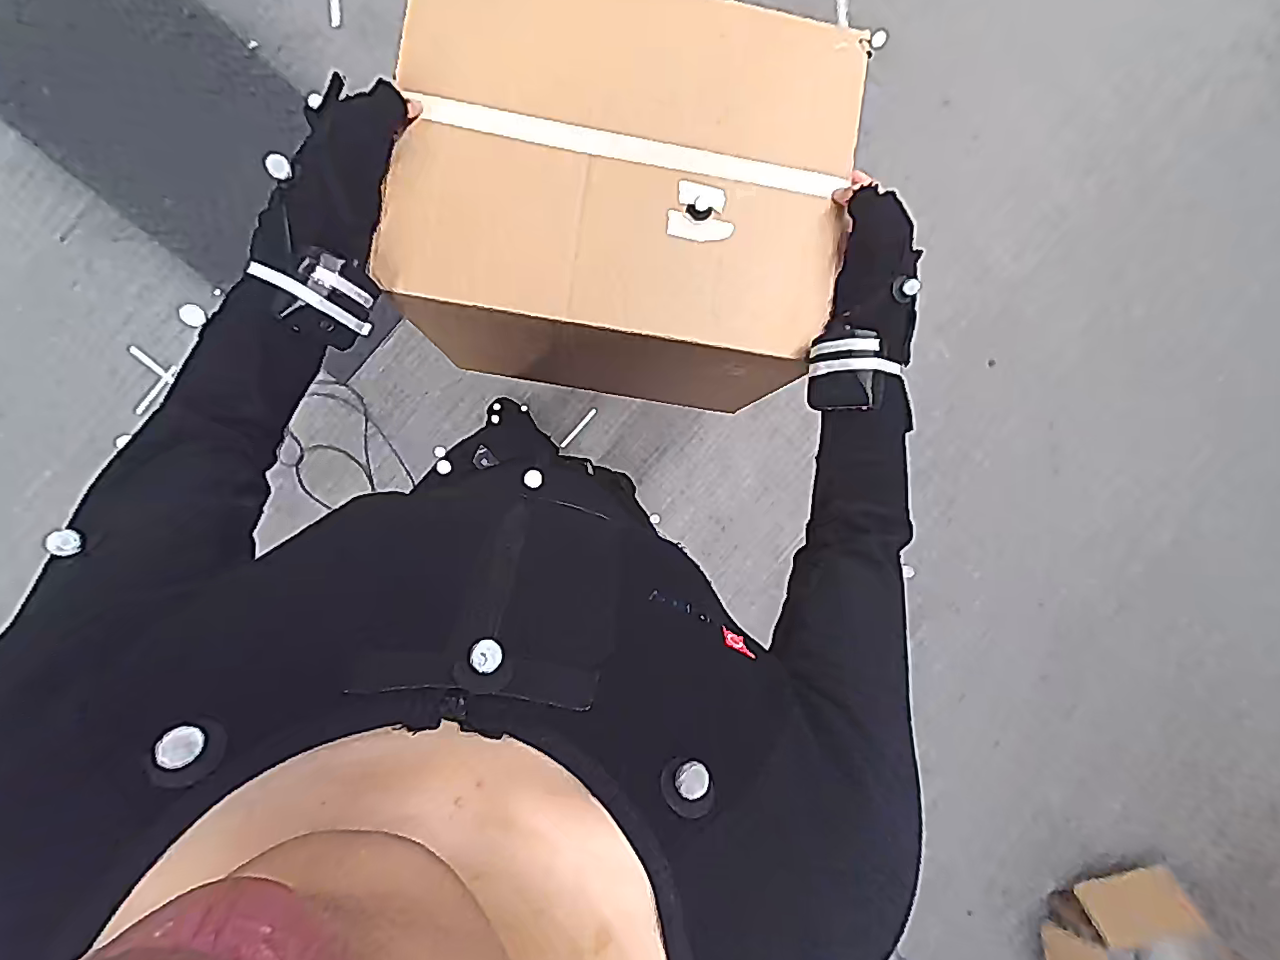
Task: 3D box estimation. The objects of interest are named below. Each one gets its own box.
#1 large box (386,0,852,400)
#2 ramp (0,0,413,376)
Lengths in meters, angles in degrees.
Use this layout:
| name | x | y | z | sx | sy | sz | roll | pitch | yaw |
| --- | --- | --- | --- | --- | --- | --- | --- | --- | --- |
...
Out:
| name | x | y | z | sx | sy | sz | roll | pitch | yaw |
| --- | --- | --- | --- | --- | --- | --- | --- | --- | --- |
| large box | -0.026 | -0.294 | 0.637 | 0.408 | 0.320 | 0.320 | 7 | 88 | -6 |
| ramp | -0.964 | -0.764 | 1.294 | 0.991 | 0.206 | 0.509 | 39 | 89 | -6 |
